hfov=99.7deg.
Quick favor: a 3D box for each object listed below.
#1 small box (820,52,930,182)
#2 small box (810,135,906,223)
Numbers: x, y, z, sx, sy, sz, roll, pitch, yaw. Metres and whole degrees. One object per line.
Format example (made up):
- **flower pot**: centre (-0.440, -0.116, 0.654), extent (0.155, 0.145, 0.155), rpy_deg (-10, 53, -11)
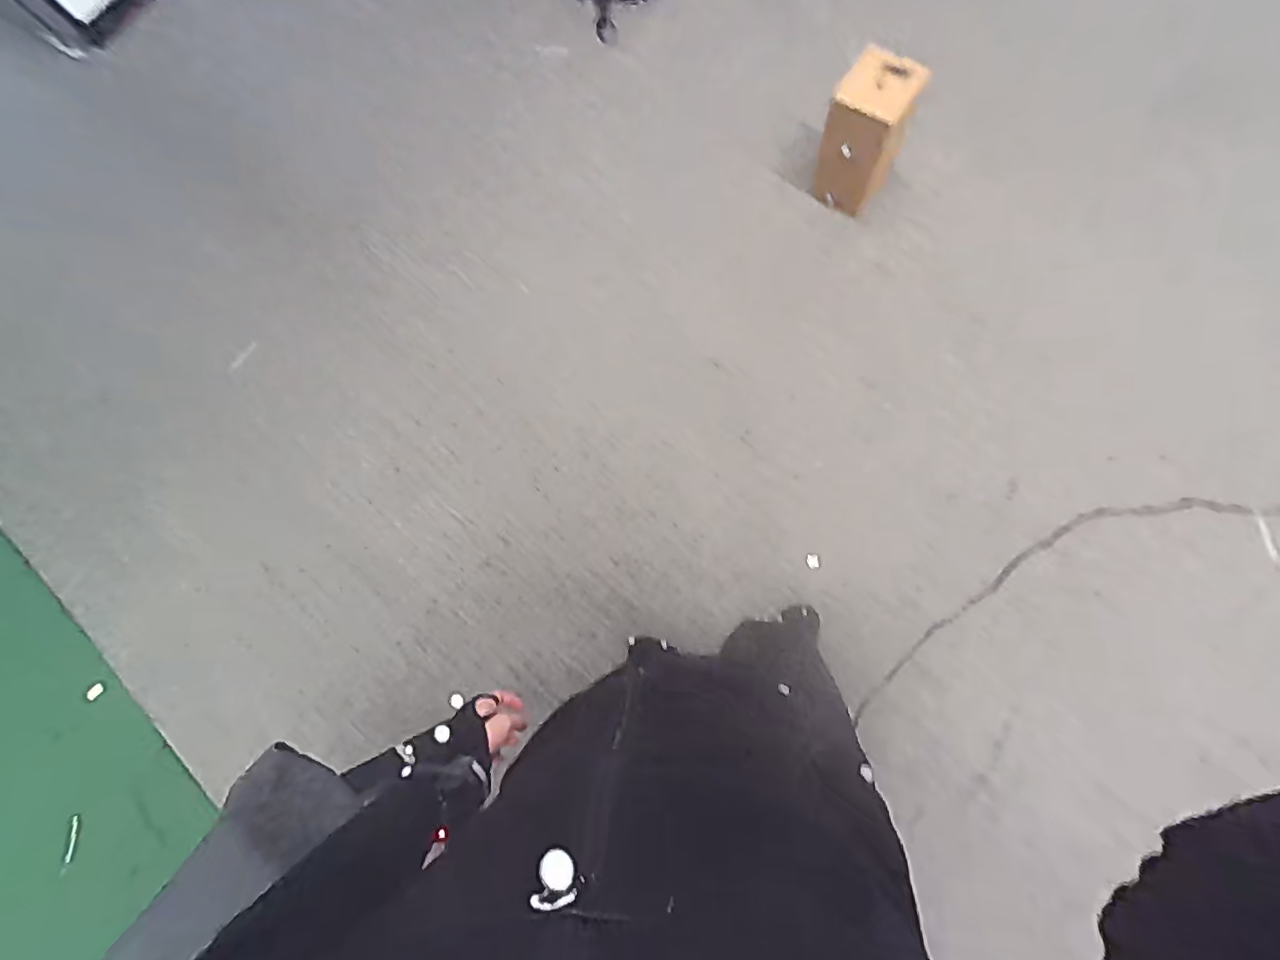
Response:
- **small box**: centre (0.575, -0.900, 1.352), extent (0.168, 0.176, 0.179), rpy_deg (35, 84, 13)
- **small box**: centre (0.599, -0.870, 1.513), extent (0.168, 0.176, 0.179), rpy_deg (35, 85, 13)
